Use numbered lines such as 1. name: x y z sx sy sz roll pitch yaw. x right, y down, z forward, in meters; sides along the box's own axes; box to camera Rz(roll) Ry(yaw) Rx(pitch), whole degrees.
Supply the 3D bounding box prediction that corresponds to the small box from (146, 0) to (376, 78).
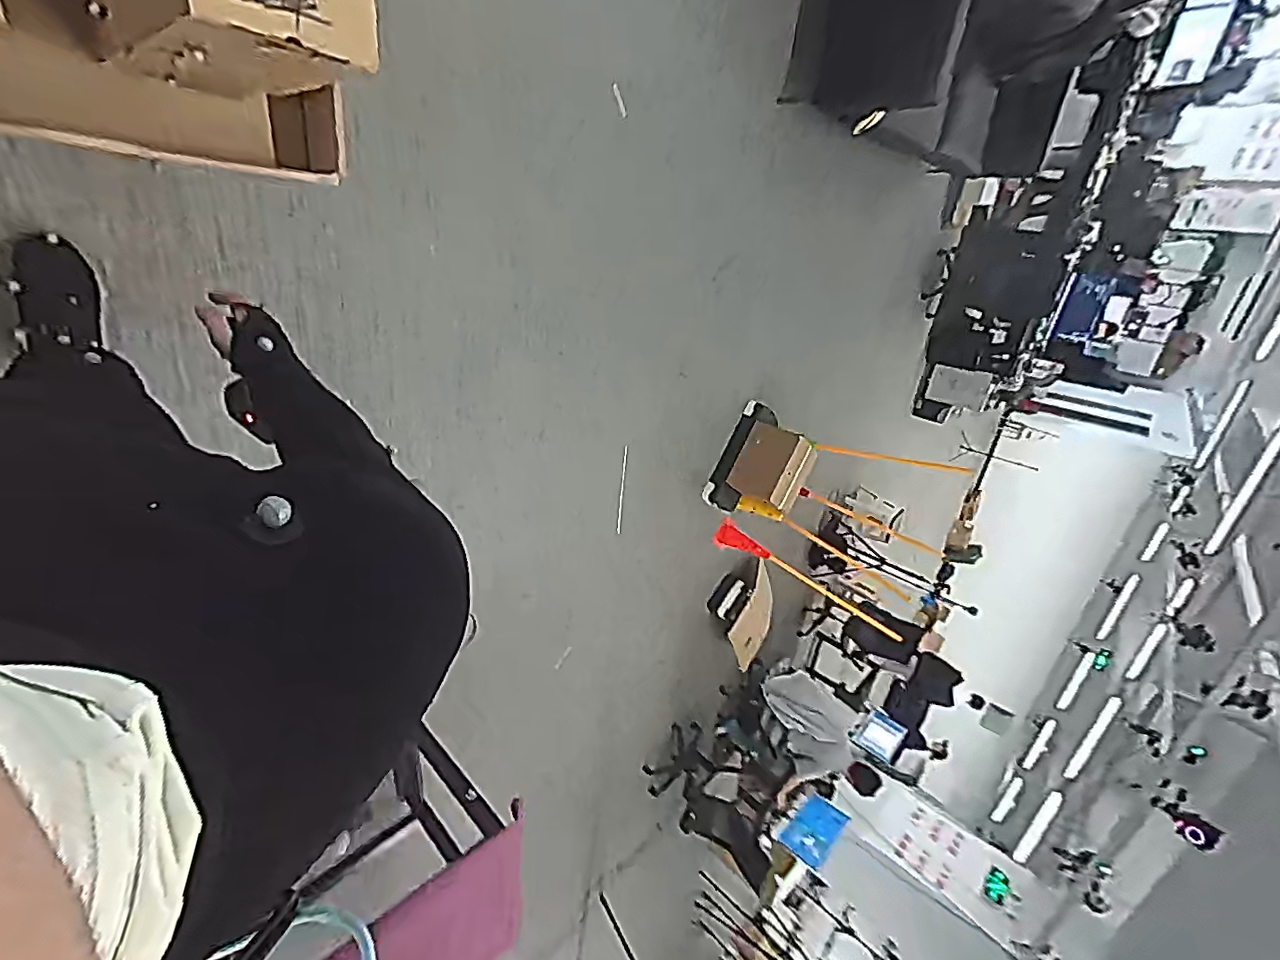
1. small box: -0.385 -0.530 0.538 0.168 0.176 0.179 -18 123 -45
